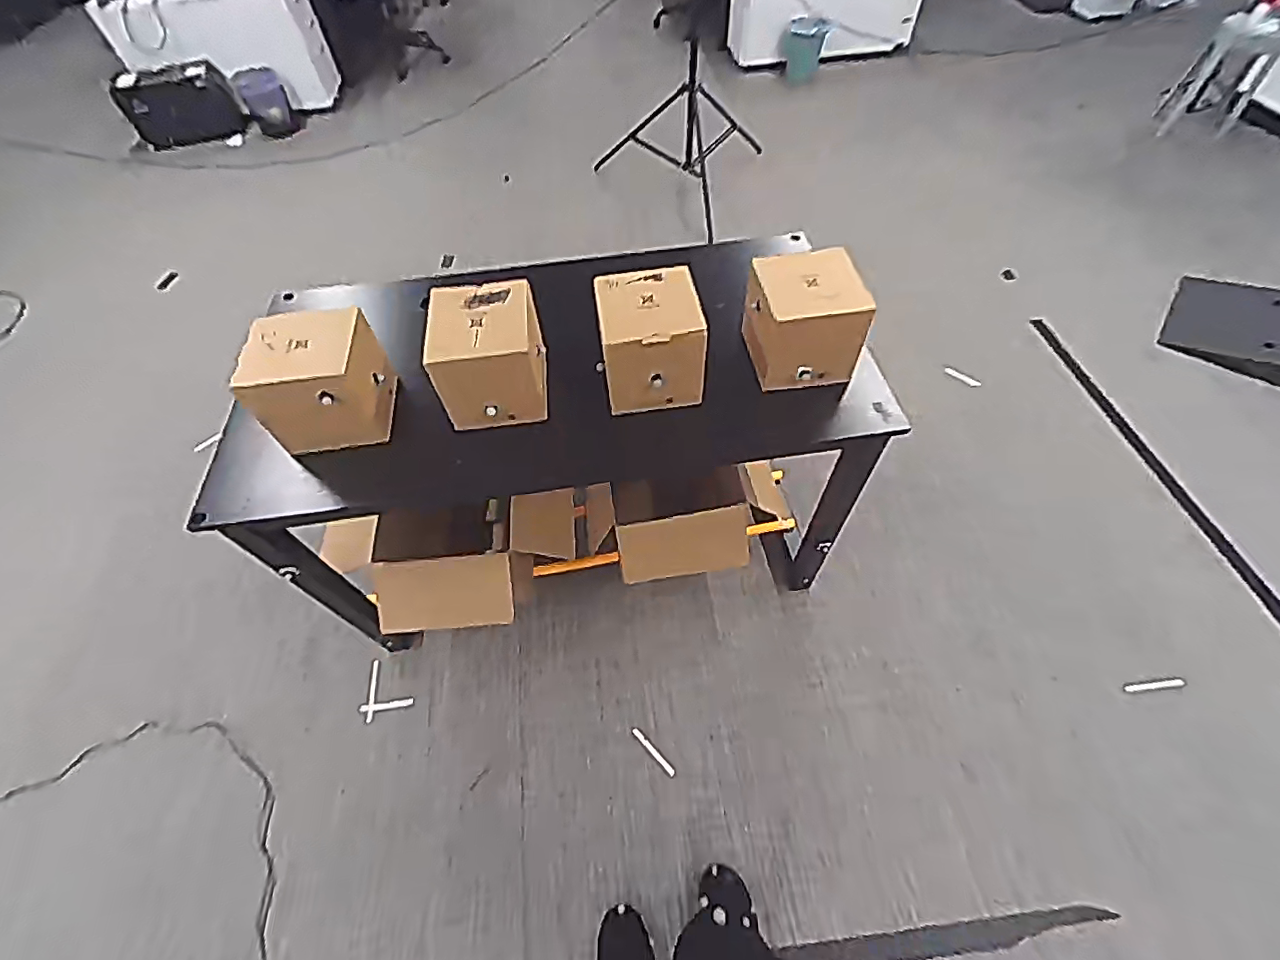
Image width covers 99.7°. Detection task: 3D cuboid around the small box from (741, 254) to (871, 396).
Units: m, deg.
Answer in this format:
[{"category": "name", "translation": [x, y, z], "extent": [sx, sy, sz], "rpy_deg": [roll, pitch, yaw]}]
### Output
[{"category": "small box", "translation": [0.285, -0.277, 0.977], "extent": [0.168, 0.176, 0.179], "rpy_deg": [-8, 56, -1]}]

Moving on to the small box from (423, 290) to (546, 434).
[{"category": "small box", "translation": [-0.264, -0.205, 0.953], "extent": [0.168, 0.176, 0.179], "rpy_deg": [-7, 56, -2]}]

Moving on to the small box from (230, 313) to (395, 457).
[{"category": "small box", "translation": [-0.544, -0.160, 0.932], "extent": [0.179, 0.176, 0.168], "rpy_deg": [-8, 55, -4]}]

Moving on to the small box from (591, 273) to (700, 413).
[{"category": "small box", "translation": [0.011, -0.235, 0.961], "extent": [0.168, 0.176, 0.179], "rpy_deg": [-8, 56, -2]}]
